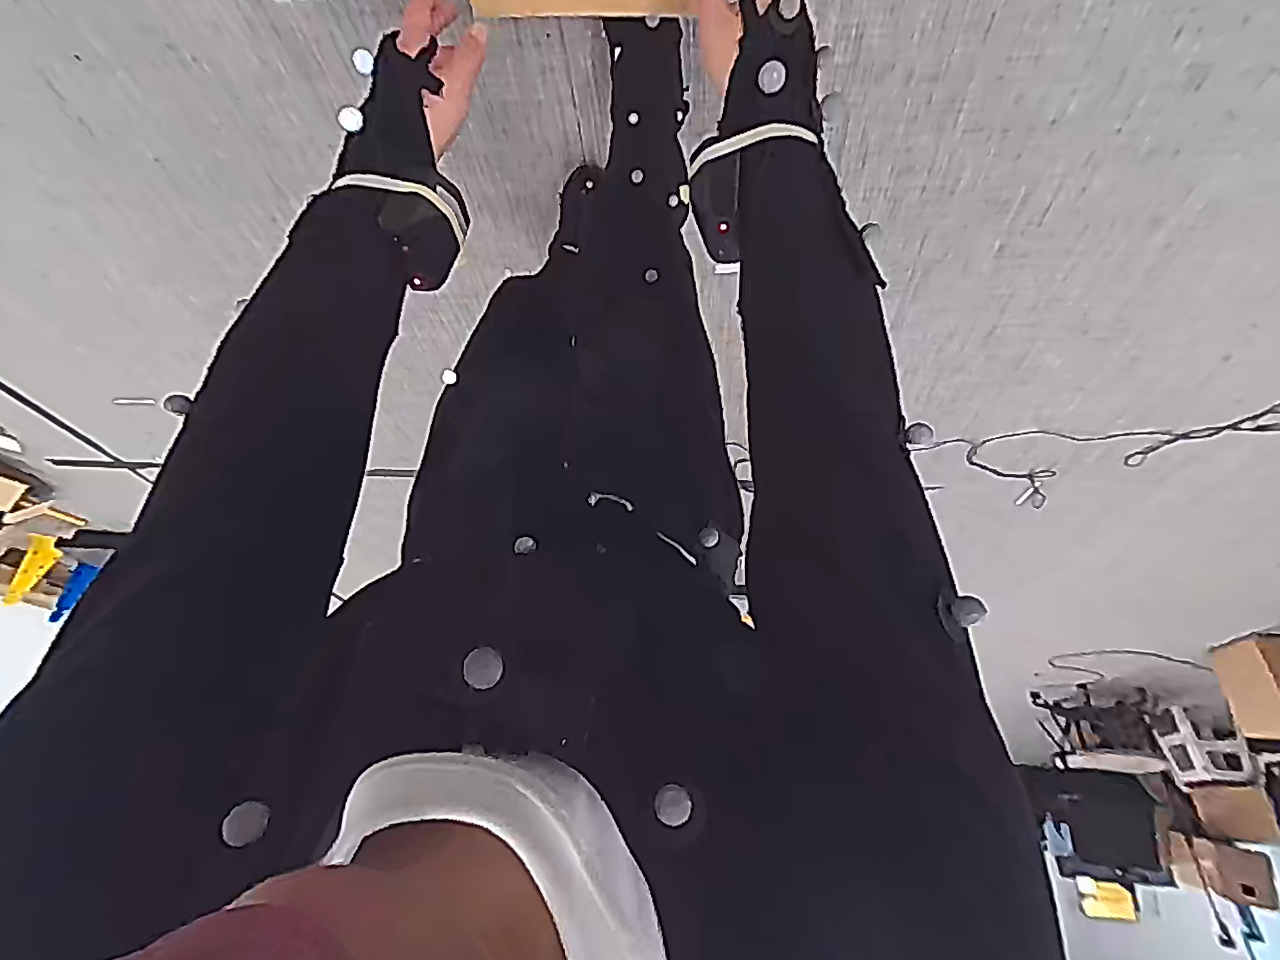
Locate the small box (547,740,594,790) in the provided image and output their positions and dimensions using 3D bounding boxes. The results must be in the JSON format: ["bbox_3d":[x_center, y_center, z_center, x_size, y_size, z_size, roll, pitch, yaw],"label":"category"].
[{"bbox_3d":[-0.294,1.233,2.336,0.168,0.176,0.179,3,146,3],"label":"small box"}]

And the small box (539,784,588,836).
[{"bbox_3d":[-0.311,1.371,2.246,0.168,0.176,0.179,2,147,3],"label":"small box"}]

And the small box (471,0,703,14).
[{"bbox_3d":[-0.035,-0.458,0.377,0.179,0.176,0.168,2,147,4],"label":"small box"}]
